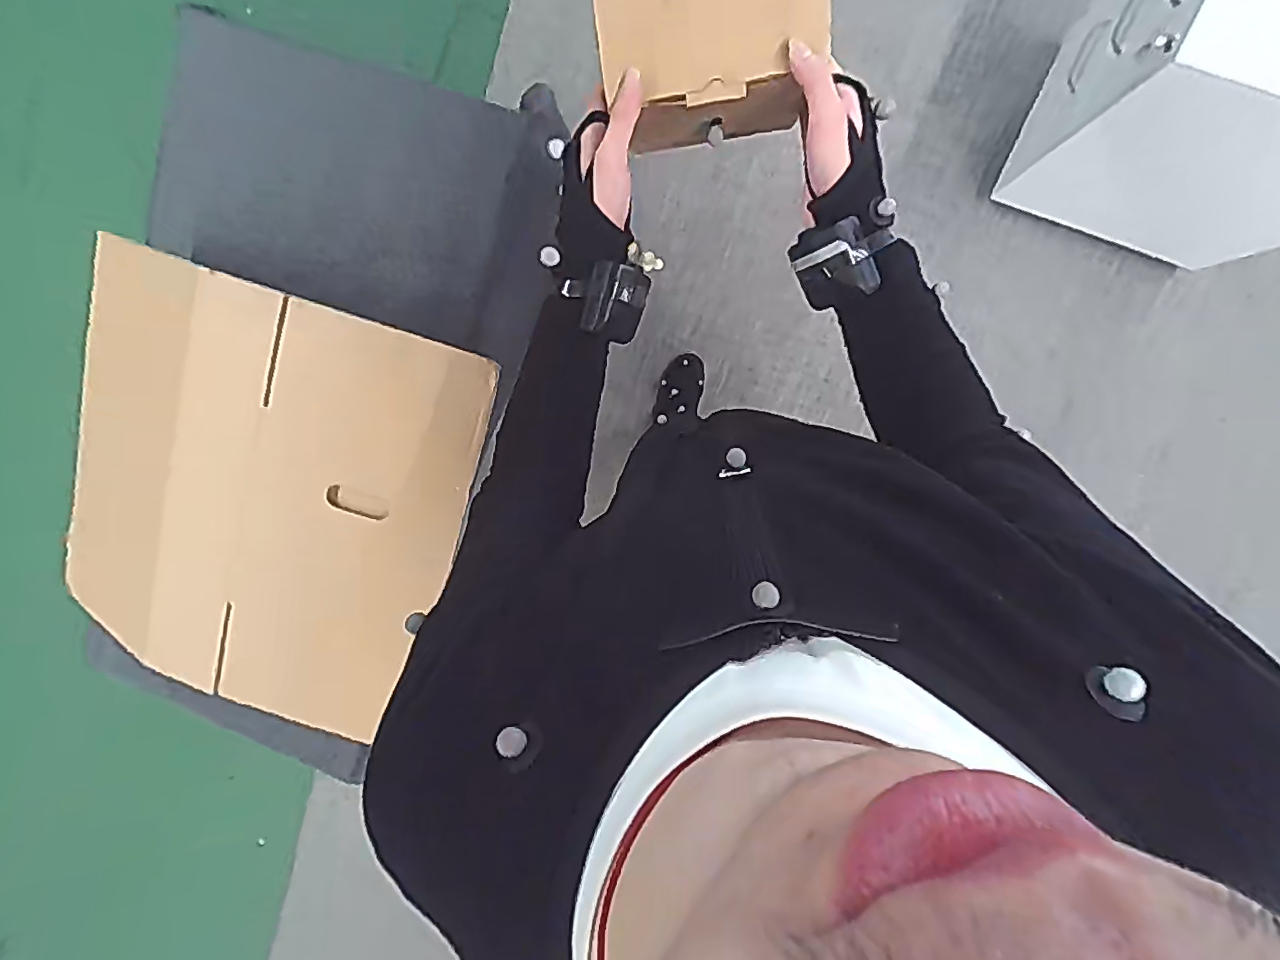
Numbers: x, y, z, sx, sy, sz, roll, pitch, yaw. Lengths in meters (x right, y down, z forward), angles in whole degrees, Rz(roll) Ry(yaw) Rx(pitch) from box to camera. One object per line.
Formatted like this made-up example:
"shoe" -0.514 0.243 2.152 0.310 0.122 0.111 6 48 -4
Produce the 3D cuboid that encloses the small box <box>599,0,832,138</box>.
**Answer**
"small box" 0.057 -0.405 0.446 0.168 0.176 0.179 -7 110 10
